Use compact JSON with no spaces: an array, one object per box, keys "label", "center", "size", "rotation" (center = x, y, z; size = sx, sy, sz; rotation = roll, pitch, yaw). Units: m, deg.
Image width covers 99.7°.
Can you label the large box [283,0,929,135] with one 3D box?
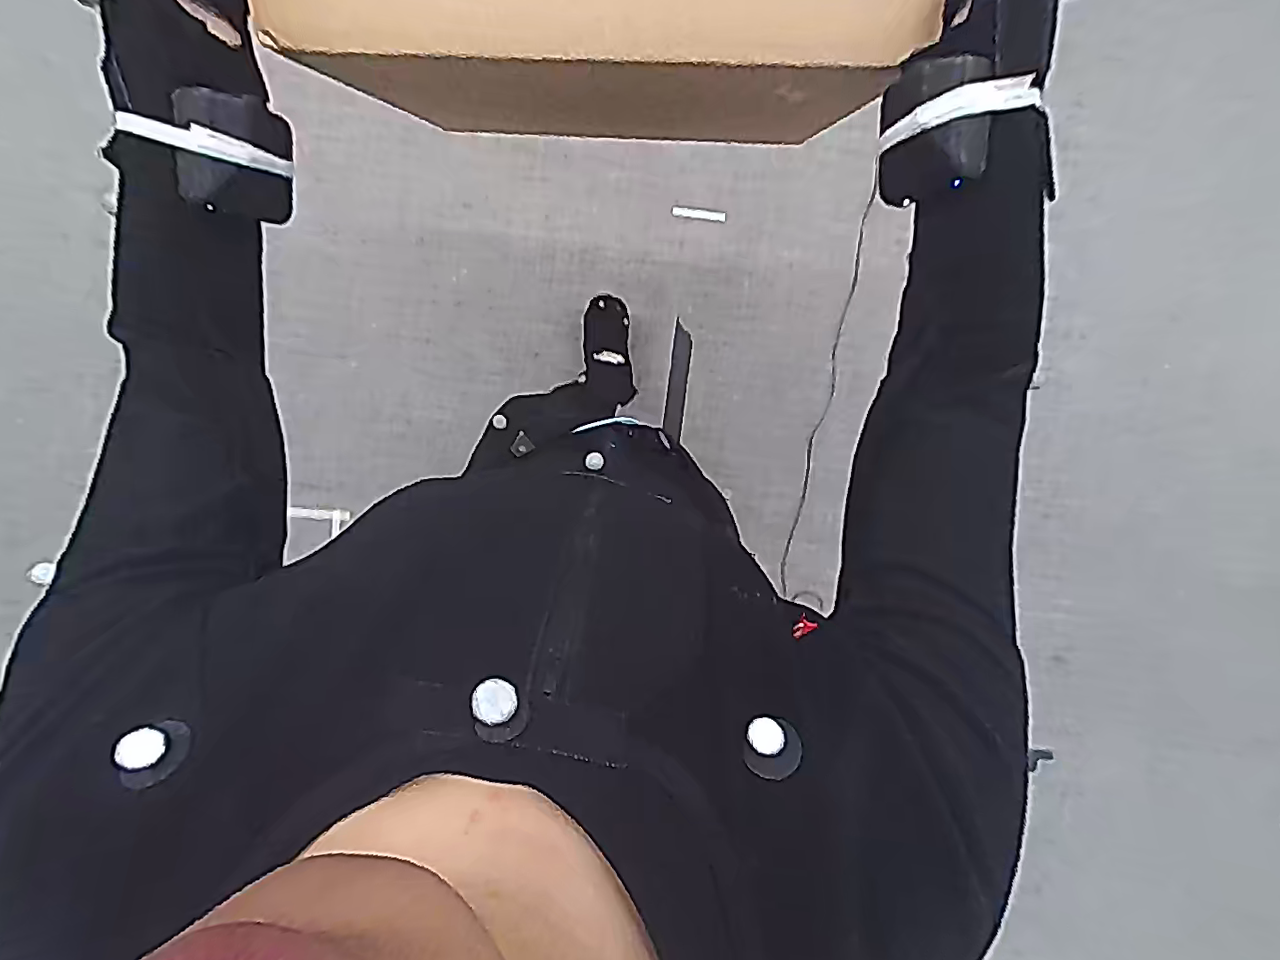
[{"label":"large box","center":[-0.019,-0.468,0.412],"size":[0.408,0.320,0.320],"rotation":[2,116,0]}]
